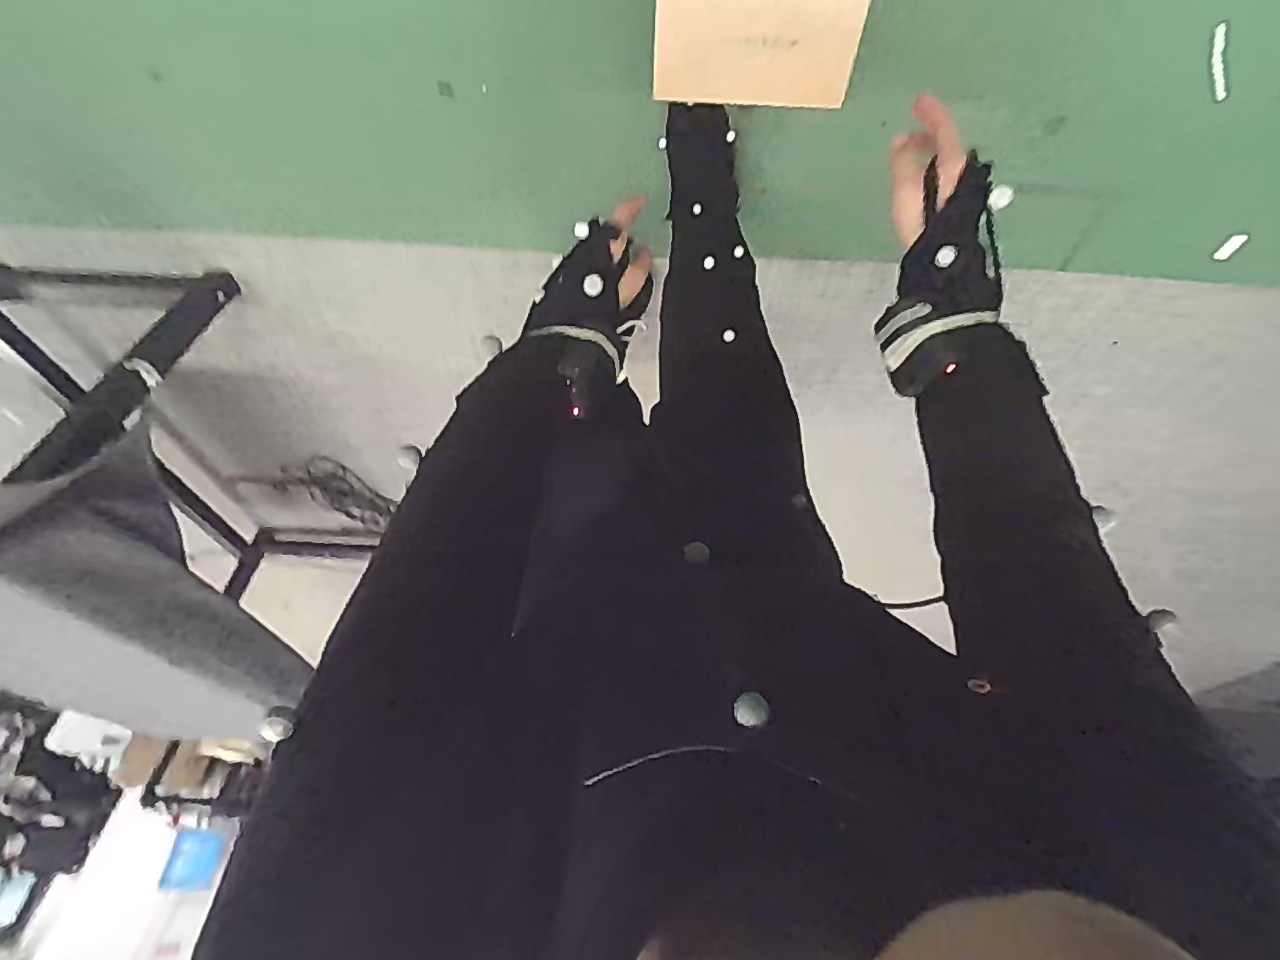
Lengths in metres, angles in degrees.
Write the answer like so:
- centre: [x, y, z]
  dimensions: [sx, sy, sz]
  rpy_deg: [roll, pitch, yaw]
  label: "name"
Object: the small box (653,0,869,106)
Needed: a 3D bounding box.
- centre: [0.098, -0.441, 0.445]
  dimensions: [0.168, 0.176, 0.179]
  rpy_deg: [4, 143, 3]
  label: "small box"
